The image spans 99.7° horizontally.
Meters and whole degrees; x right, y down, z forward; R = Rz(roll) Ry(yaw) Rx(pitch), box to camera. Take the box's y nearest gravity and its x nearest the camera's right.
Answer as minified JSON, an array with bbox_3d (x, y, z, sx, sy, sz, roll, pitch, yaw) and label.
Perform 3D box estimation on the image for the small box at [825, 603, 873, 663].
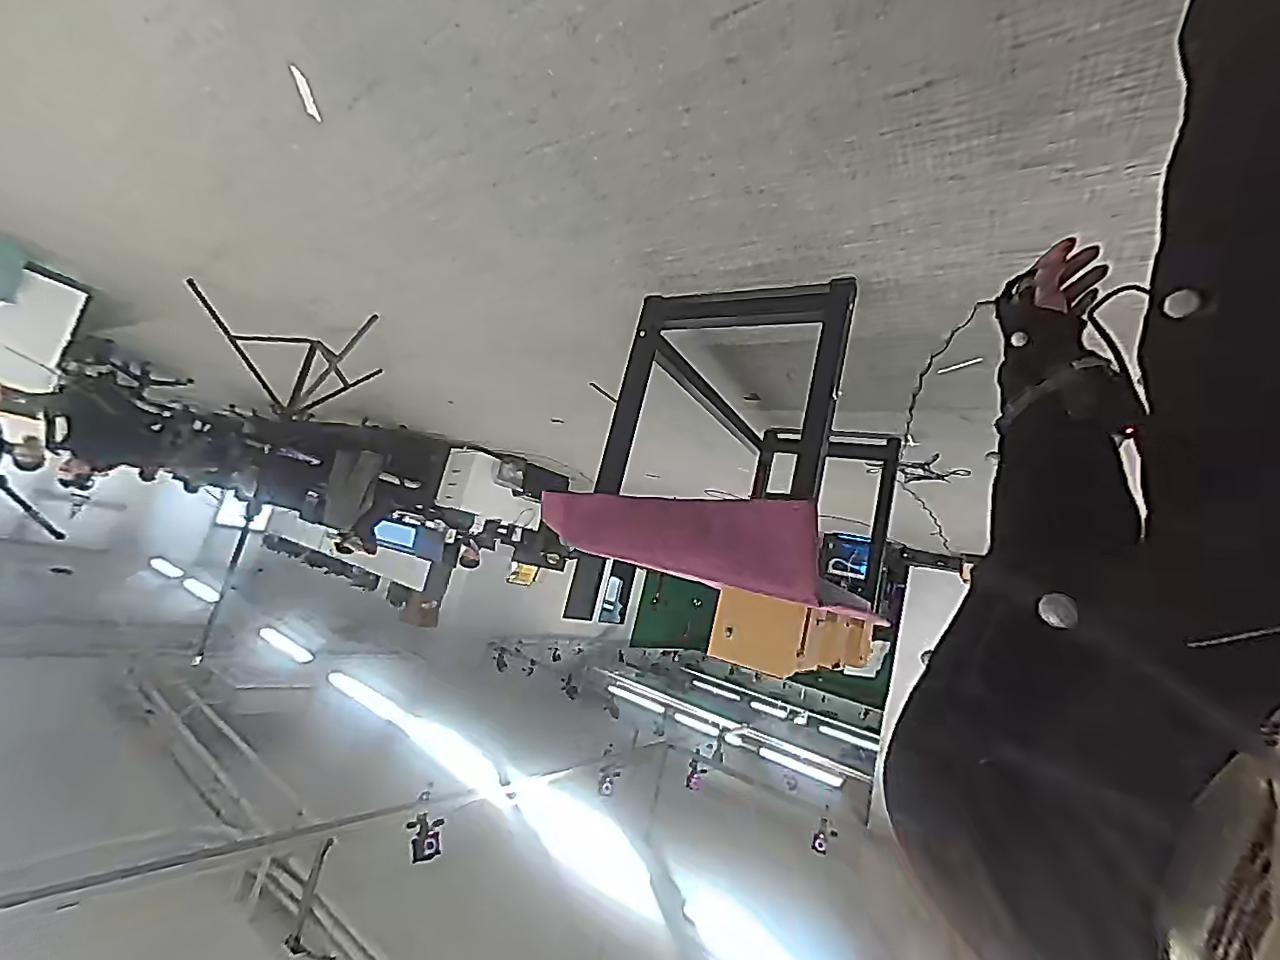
[{"bbox_3d":[0.723,0.542,1.929,0.168,0.176,0.179,7,169,36],"label":"small box"}]

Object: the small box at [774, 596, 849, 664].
[{"bbox_3d":[0.536,0.460,1.674,0.179,0.176,0.168,7,169,36],"label":"small box"}]
